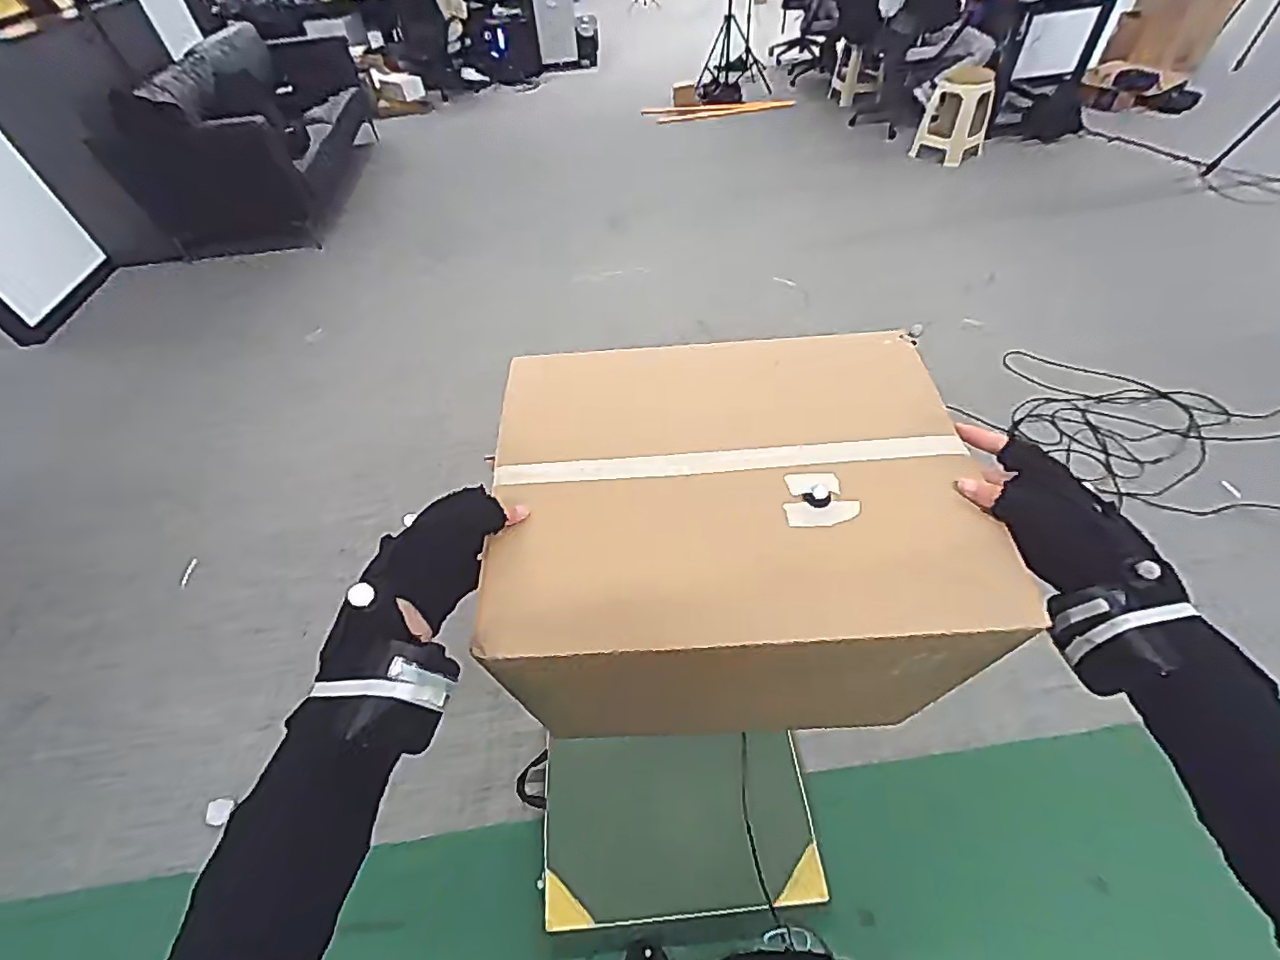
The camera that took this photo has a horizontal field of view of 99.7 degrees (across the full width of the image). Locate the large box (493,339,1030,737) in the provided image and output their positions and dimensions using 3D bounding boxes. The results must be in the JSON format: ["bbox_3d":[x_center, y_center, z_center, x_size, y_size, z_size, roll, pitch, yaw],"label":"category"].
[{"bbox_3d":[0.085,0.076,0.598,0.408,0.320,0.320,-4,55,1],"label":"large box"}]
